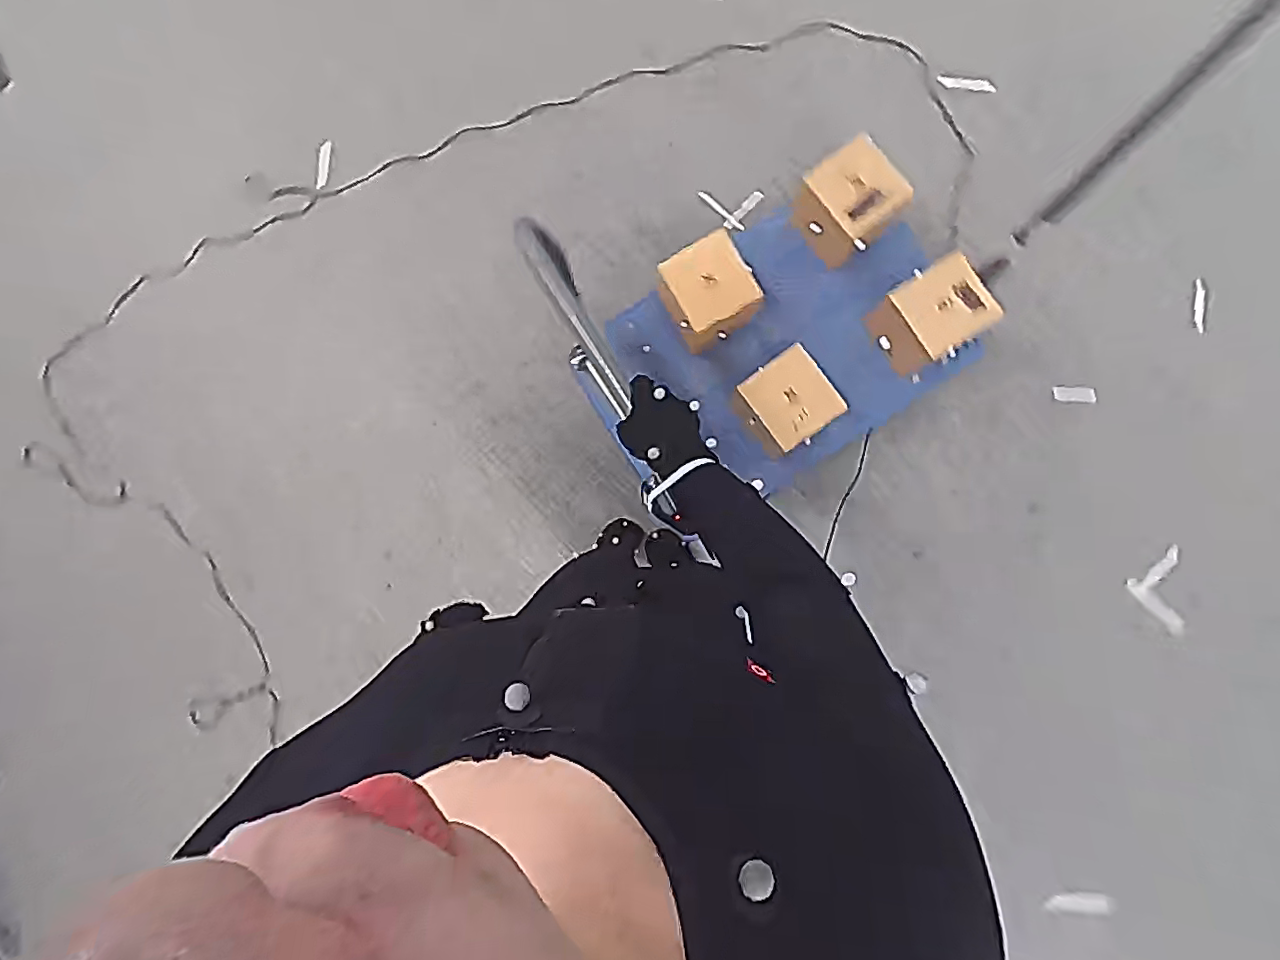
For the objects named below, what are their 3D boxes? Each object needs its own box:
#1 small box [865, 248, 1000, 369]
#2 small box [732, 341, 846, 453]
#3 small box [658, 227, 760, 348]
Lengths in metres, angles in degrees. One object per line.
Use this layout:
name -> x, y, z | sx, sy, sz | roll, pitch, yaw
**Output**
small box -> 0.643, -0.375, 1.214 | 0.179, 0.176, 0.168 | -33, 86, 3
small box -> 0.327, -0.179, 1.229 | 0.168, 0.176, 0.179 | -36, 86, 2
small box -> 0.152, -0.434, 1.251 | 0.168, 0.176, 0.179 | -31, 87, 2
